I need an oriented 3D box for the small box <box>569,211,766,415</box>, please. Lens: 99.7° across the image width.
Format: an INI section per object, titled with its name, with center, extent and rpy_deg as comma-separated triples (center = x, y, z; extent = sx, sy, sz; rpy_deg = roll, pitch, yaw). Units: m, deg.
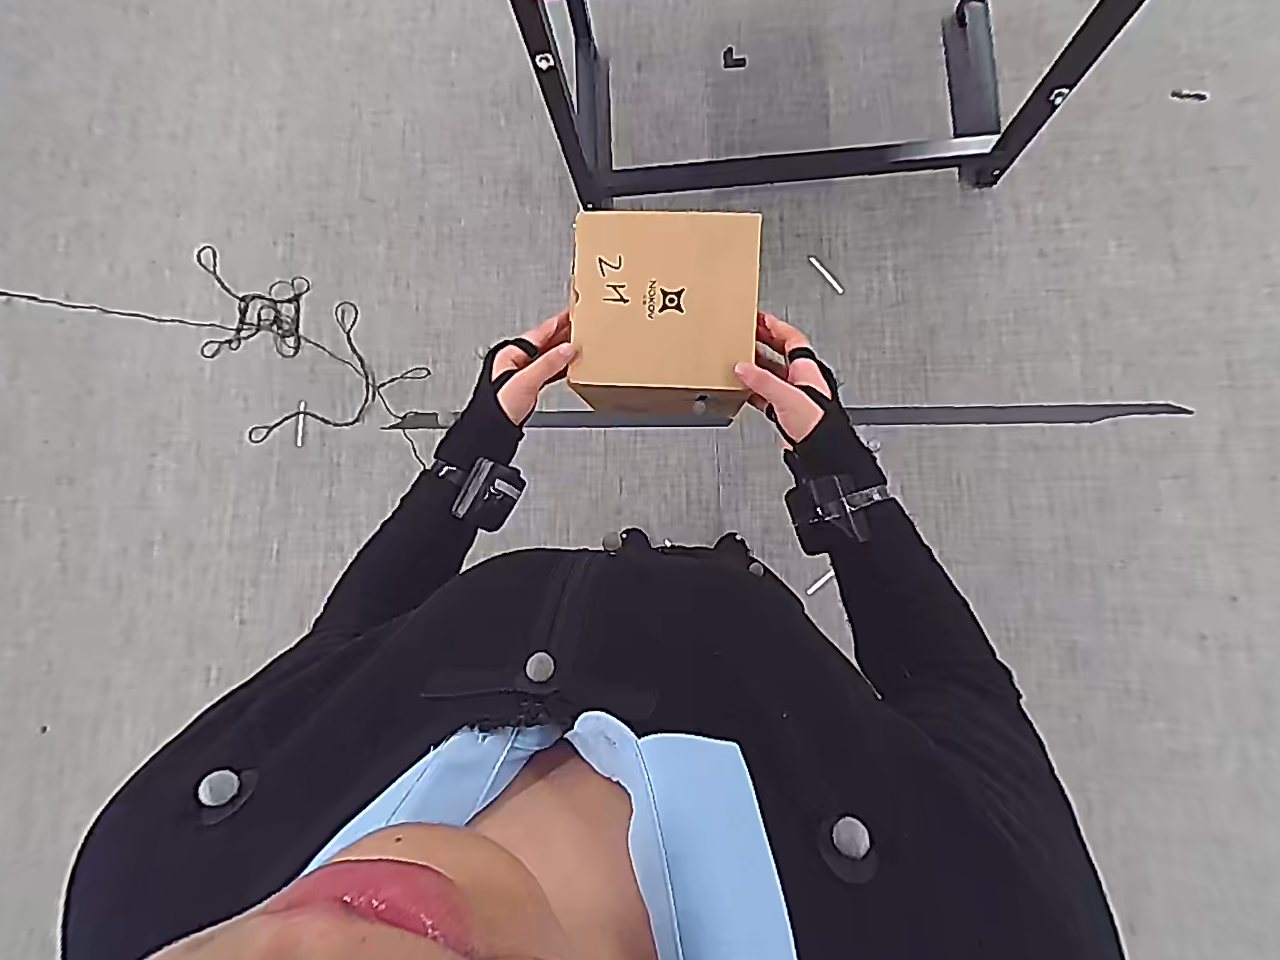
[small box]
center = 0.030, -0.165, 0.581
extent = 0.179, 0.176, 0.168
rpy_deg = 3, 88, 5
